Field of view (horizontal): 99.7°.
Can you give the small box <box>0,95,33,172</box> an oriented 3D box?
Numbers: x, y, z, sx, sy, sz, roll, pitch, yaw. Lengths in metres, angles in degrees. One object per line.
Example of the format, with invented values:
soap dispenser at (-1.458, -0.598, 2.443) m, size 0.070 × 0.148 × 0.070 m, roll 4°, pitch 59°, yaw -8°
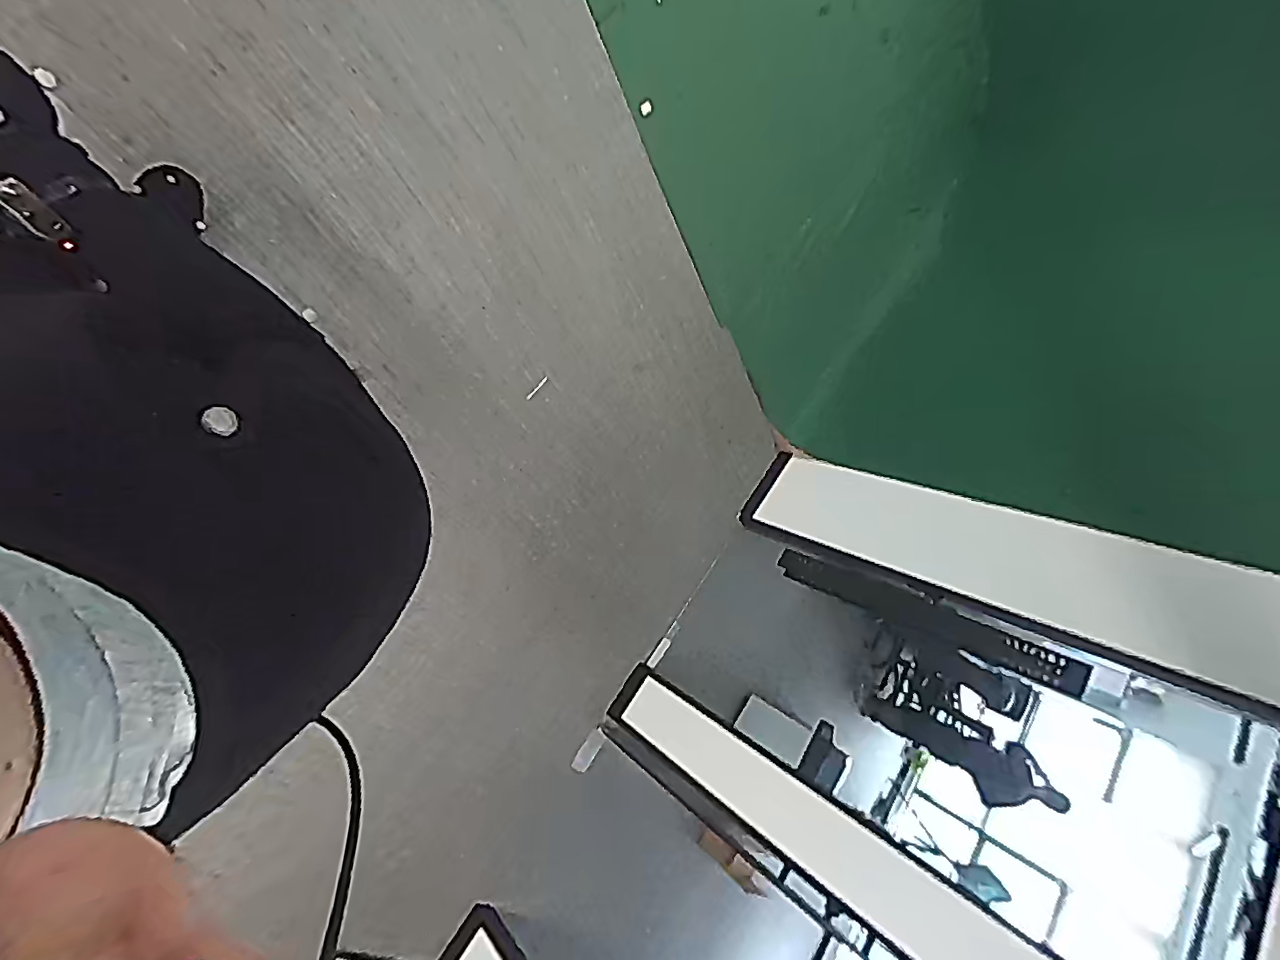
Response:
small box at (-0.674, -0.363, 0.435) m, size 0.168 × 0.176 × 0.179 m, roll -29°, pitch 101°, yaw -25°
